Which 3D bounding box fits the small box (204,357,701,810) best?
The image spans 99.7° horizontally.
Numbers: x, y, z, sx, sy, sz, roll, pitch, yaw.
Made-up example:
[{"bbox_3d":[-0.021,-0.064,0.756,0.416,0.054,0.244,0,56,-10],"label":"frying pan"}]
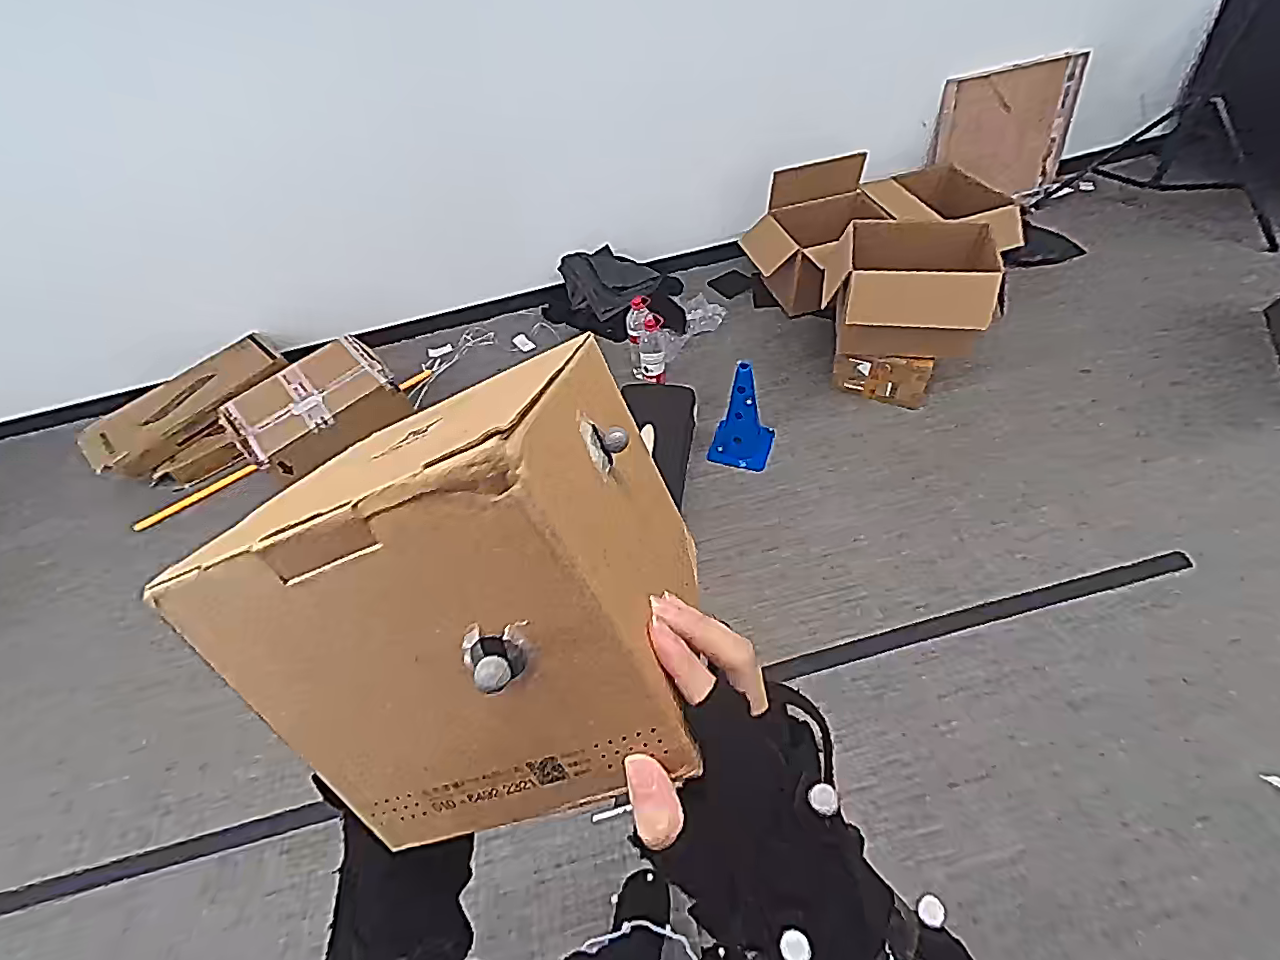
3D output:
[{"bbox_3d":[-0.070,0.056,0.309,0.168,0.176,0.179,-21,21,14],"label":"small box"}]
